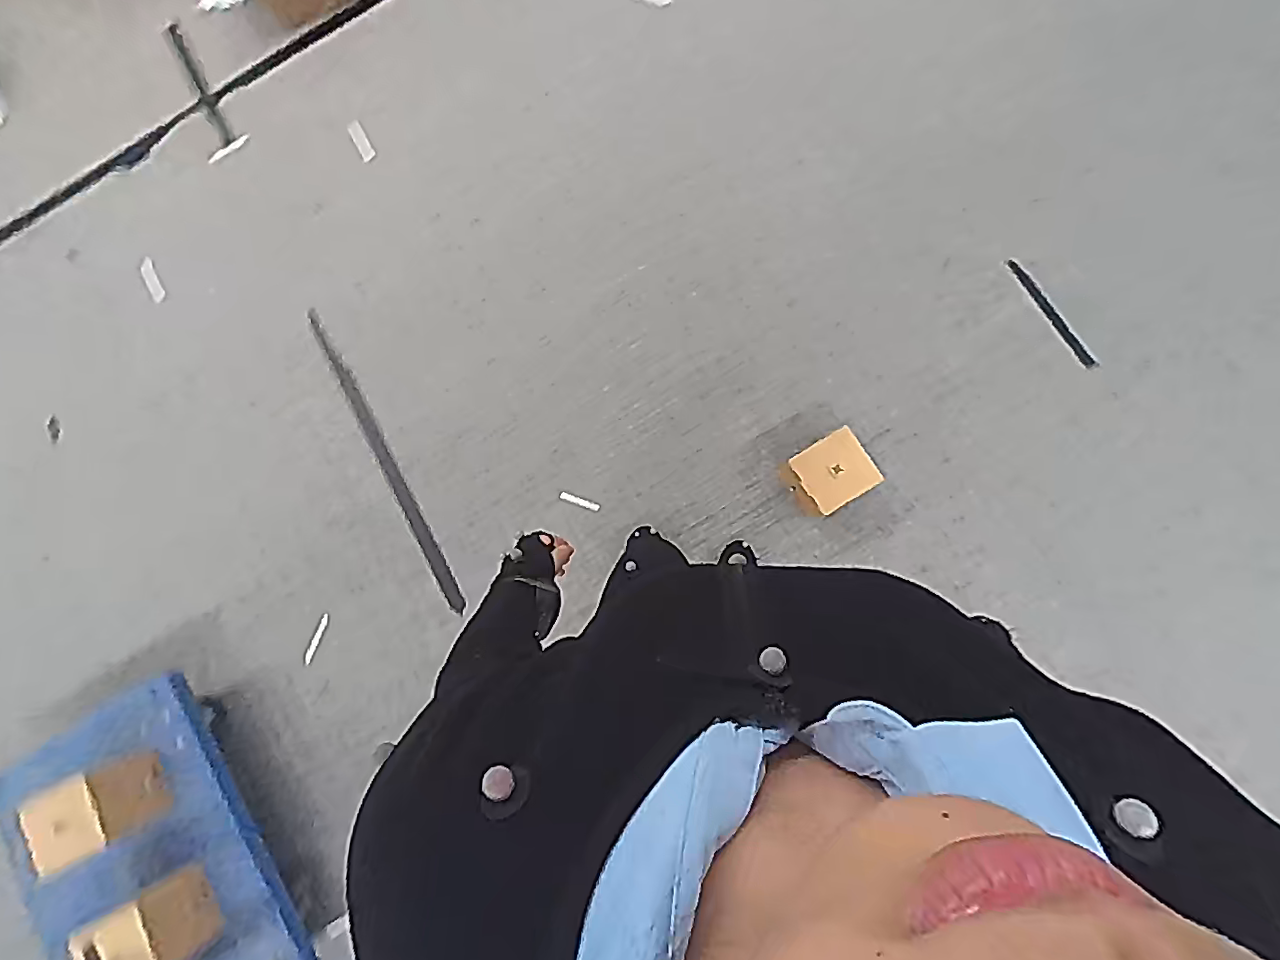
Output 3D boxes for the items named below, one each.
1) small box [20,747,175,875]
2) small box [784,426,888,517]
[{"bbox_3d":[-1.271,0.770,1.277,0.179,0.176,0.168,-28,83,1],"label":"small box"},{"bbox_3d":[0.501,-0.016,1.411,0.179,0.176,0.168,-32,82,1],"label":"small box"}]
